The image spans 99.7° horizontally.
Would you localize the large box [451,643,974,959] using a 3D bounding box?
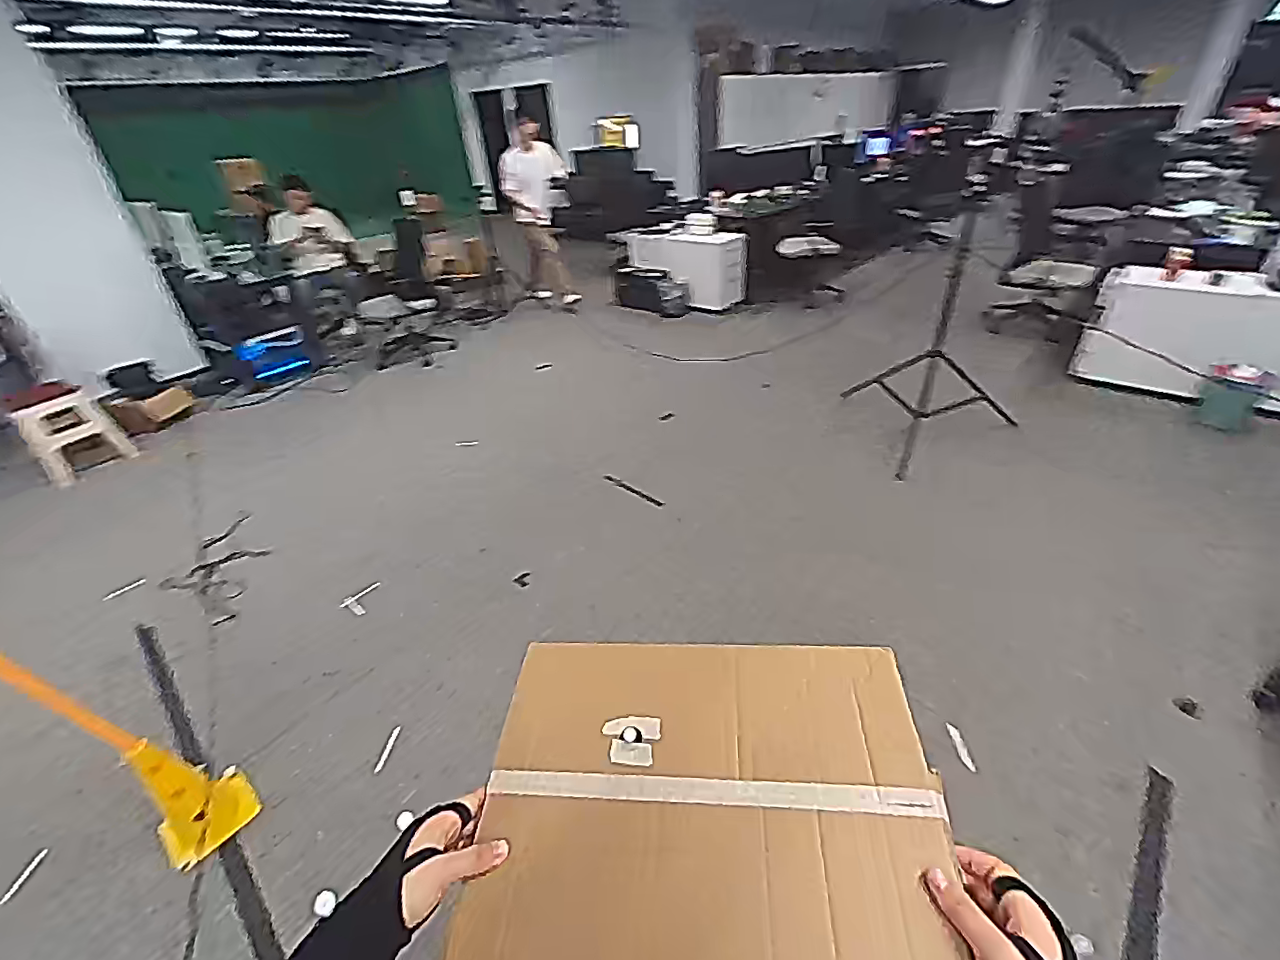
[{"bbox_3d":[0.076,0.404,0.592,0.408,0.320,0.320,-4,38,9],"label":"large box"}]
